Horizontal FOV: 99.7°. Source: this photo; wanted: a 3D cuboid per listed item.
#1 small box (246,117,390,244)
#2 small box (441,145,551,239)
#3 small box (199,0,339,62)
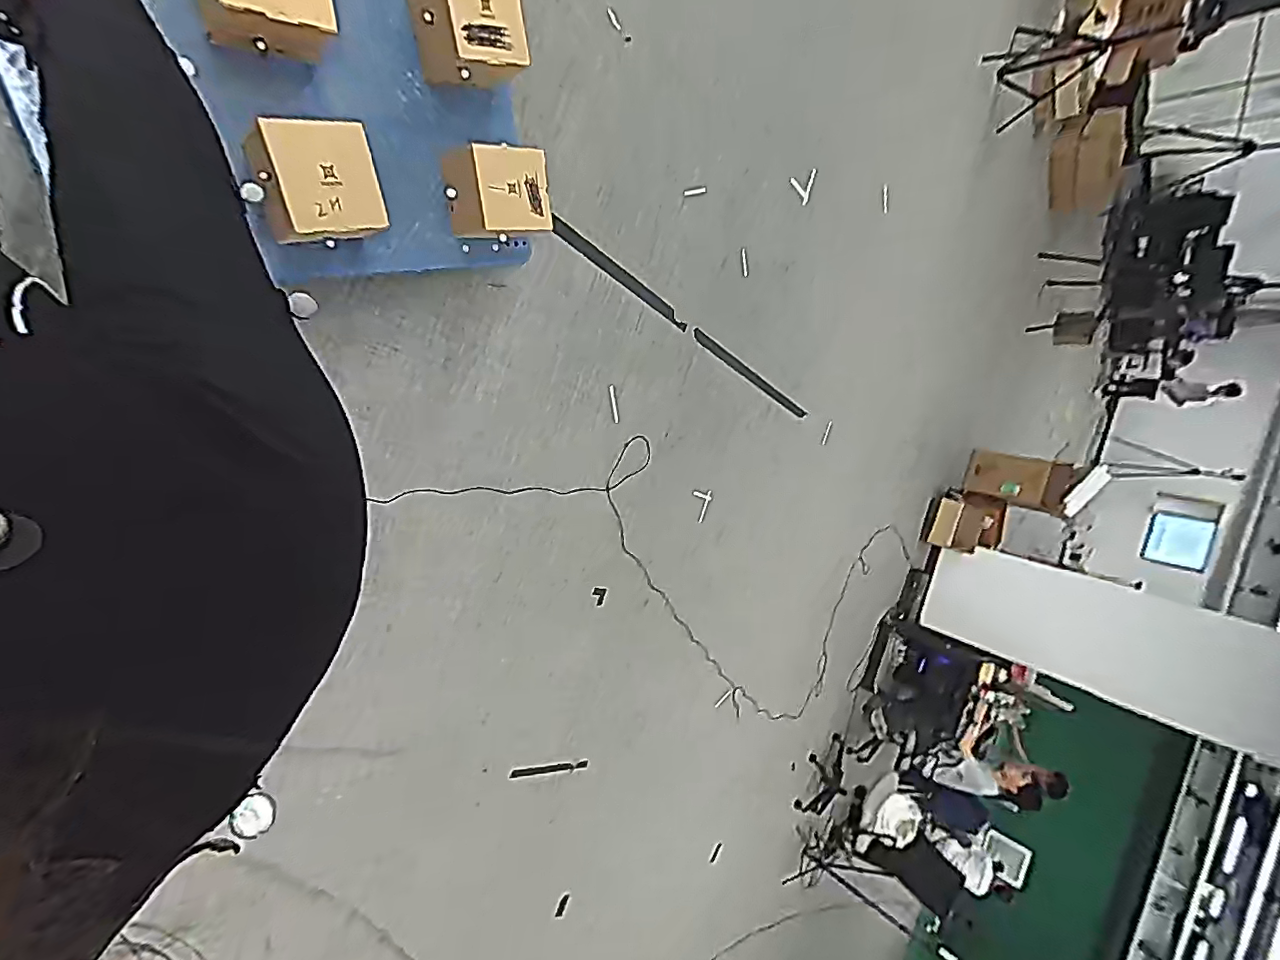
[{"bbox_3d":[-0.602,-0.549,1.010,0.168,0.176,0.179,-25,119,-37],"label":"small box"},{"bbox_3d":[-0.330,-0.653,1.244,0.179,0.176,0.168,-21,116,-37],"label":"small box"},{"bbox_3d":[-0.631,-0.836,0.896,0.168,0.176,0.179,-20,117,-40],"label":"small box"}]
